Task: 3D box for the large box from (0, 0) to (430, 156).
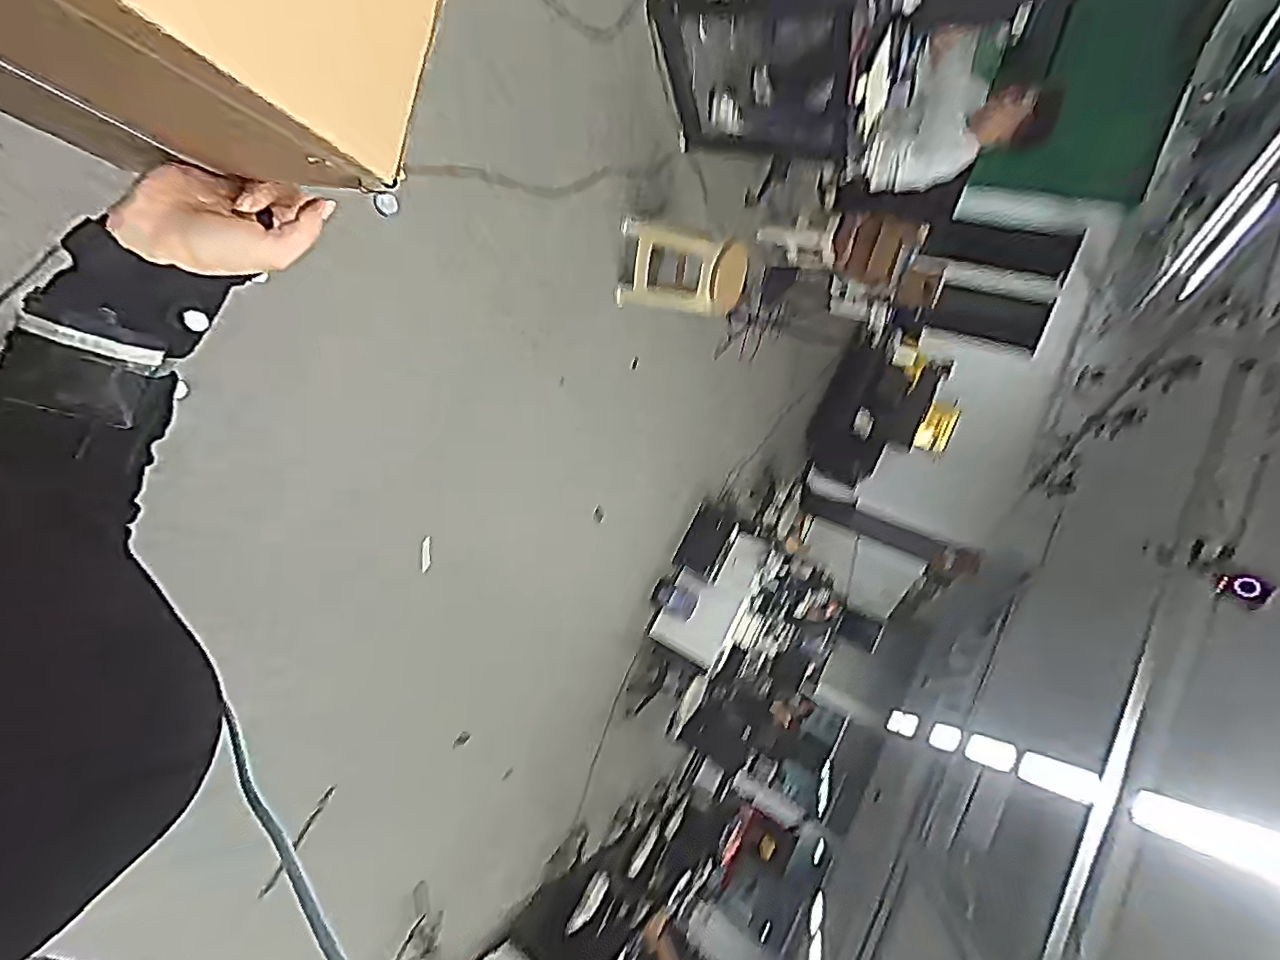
[{"bbox_3d":[-0.299,-0.362,0.148,0.408,0.320,0.320,3,105,-65],"label":"large box"}]
